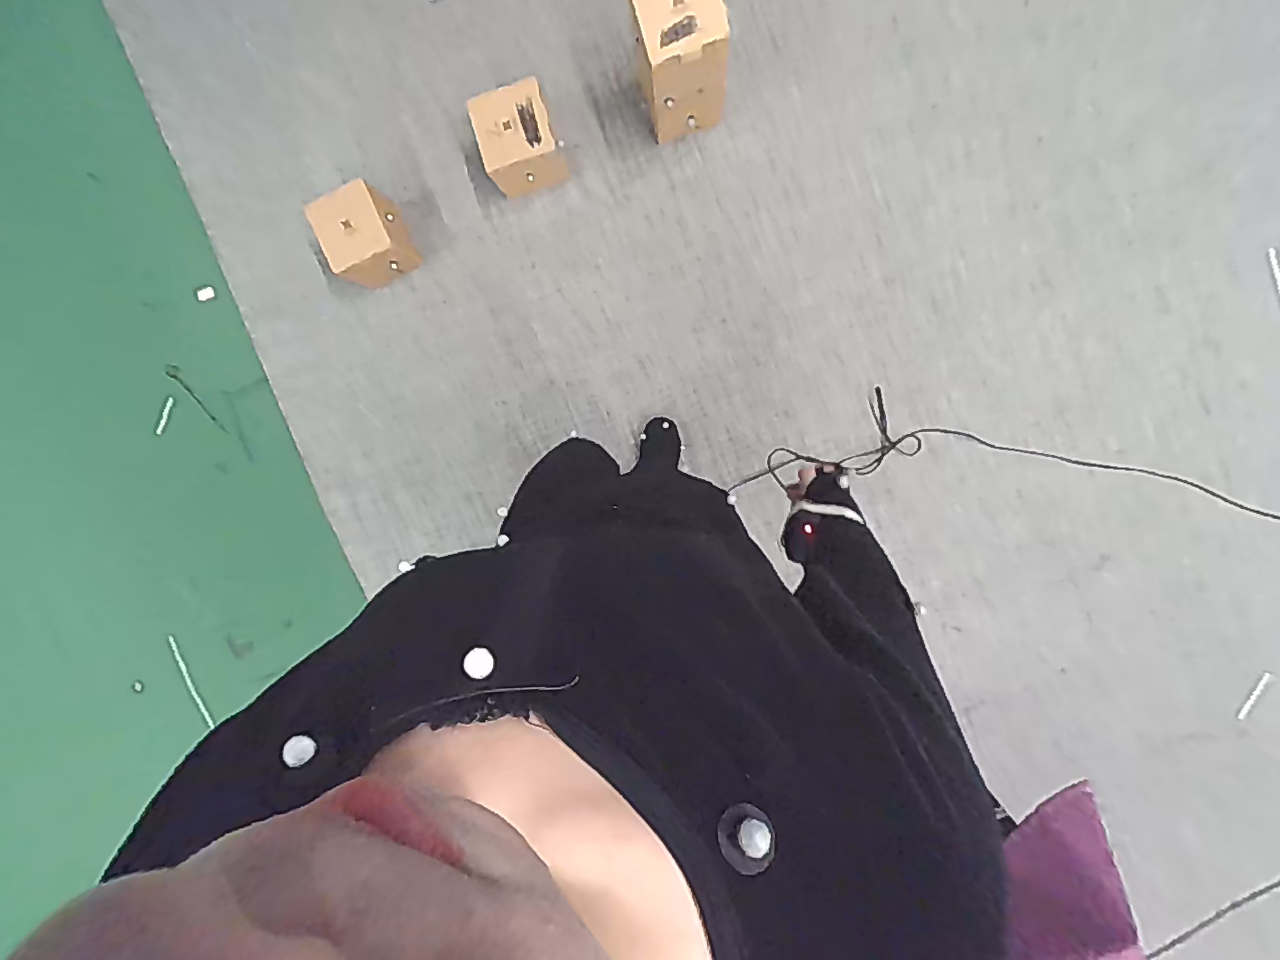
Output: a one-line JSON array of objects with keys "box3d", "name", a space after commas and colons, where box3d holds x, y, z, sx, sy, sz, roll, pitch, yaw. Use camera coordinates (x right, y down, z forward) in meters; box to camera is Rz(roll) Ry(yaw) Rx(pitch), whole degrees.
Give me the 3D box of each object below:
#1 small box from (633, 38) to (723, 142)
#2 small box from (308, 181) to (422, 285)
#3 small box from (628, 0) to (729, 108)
[{"box3d": [0.093, -0.941, 1.286, 0.168, 0.176, 0.179, -18, 96, 6], "name": "small box"}, {"box3d": [-0.695, -0.619, 1.387, 0.168, 0.176, 0.179, -22, 94, 6], "name": "small box"}, {"box3d": [0.080, -0.916, 1.123, 0.168, 0.176, 0.179, -16, 95, 6], "name": "small box"}]
